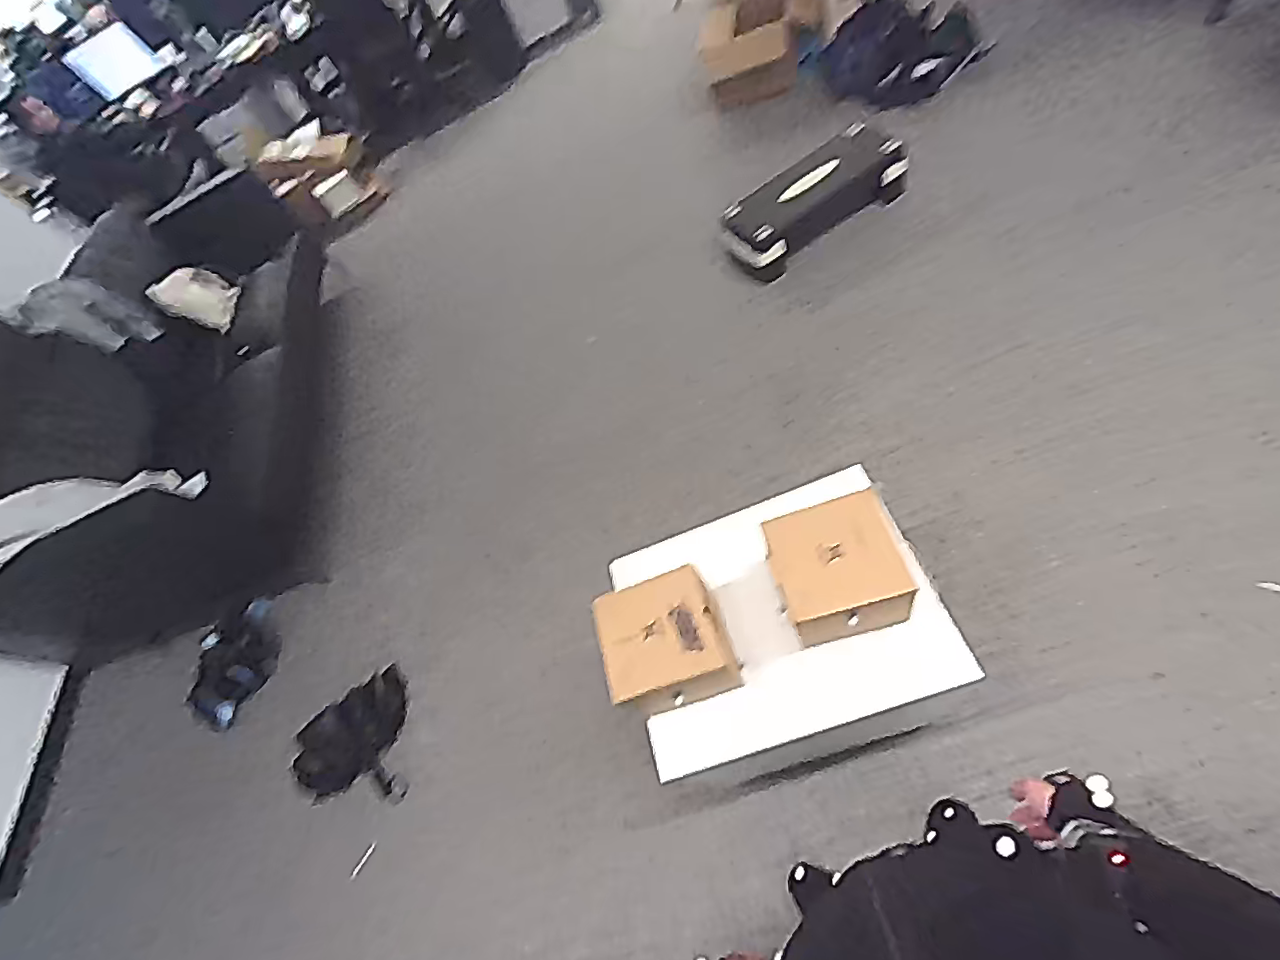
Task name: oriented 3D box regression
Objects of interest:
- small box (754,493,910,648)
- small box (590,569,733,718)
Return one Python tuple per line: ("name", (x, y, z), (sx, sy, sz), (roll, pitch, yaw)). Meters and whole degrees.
("small box", (0.296, 0.150, 0.846), (0.179, 0.176, 0.168), (-19, 57, 10))
("small box", (0.042, 0.270, 0.875), (0.179, 0.176, 0.168), (-22, 55, 9))
